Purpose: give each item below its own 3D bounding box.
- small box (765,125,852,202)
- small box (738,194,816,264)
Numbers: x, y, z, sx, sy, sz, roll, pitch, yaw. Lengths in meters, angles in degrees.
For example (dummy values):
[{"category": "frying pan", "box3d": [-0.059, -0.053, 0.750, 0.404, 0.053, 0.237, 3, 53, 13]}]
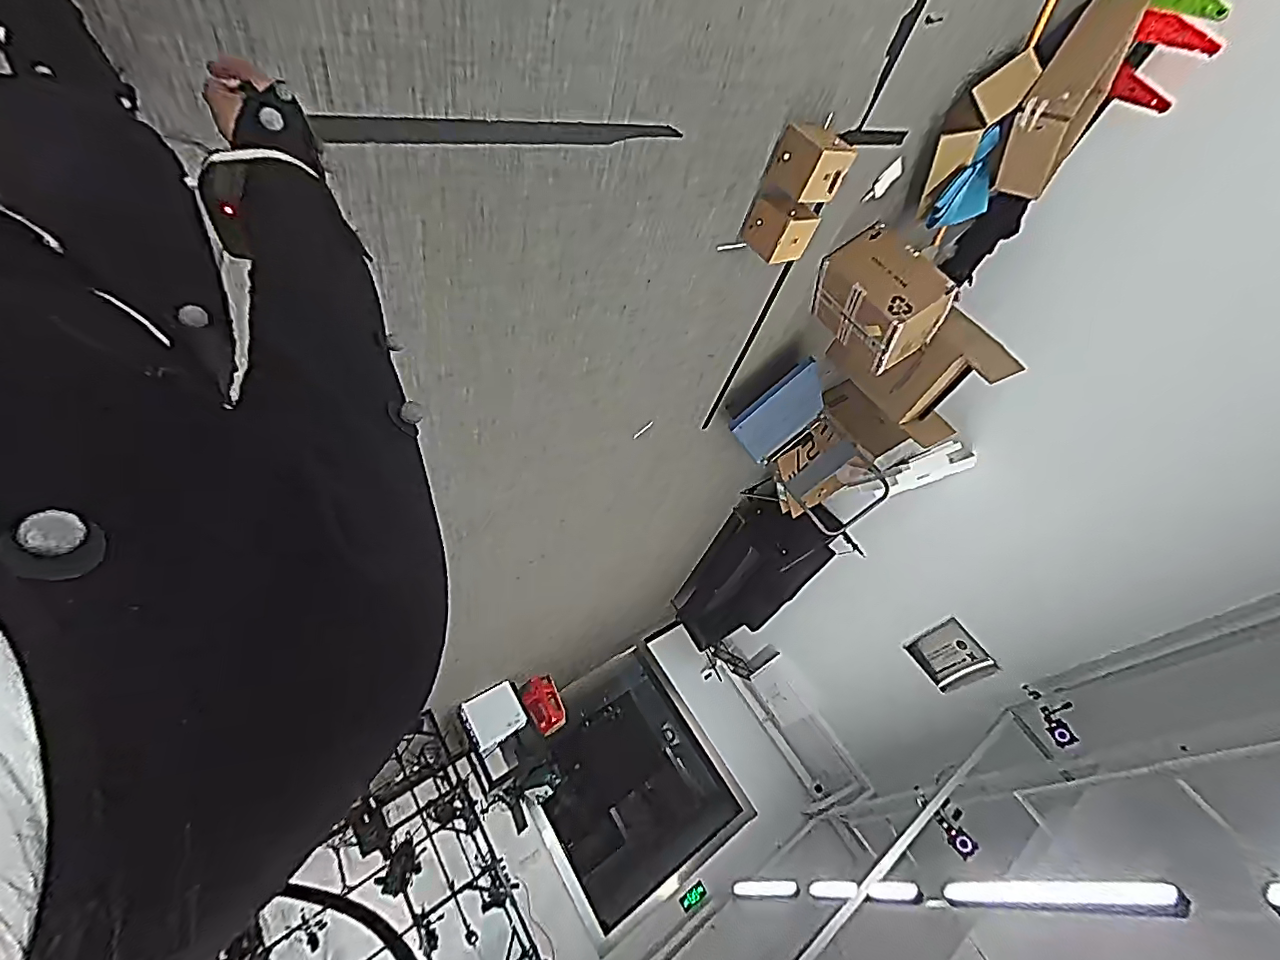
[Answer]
[{"category": "small box", "box3d": [0.551, -1.044, 1.786, 0.179, 0.176, 0.168, -20, 153, -33]}, {"category": "small box", "box3d": [0.495, -0.917, 1.965, 0.179, 0.176, 0.168, -22, 154, -31]}]
